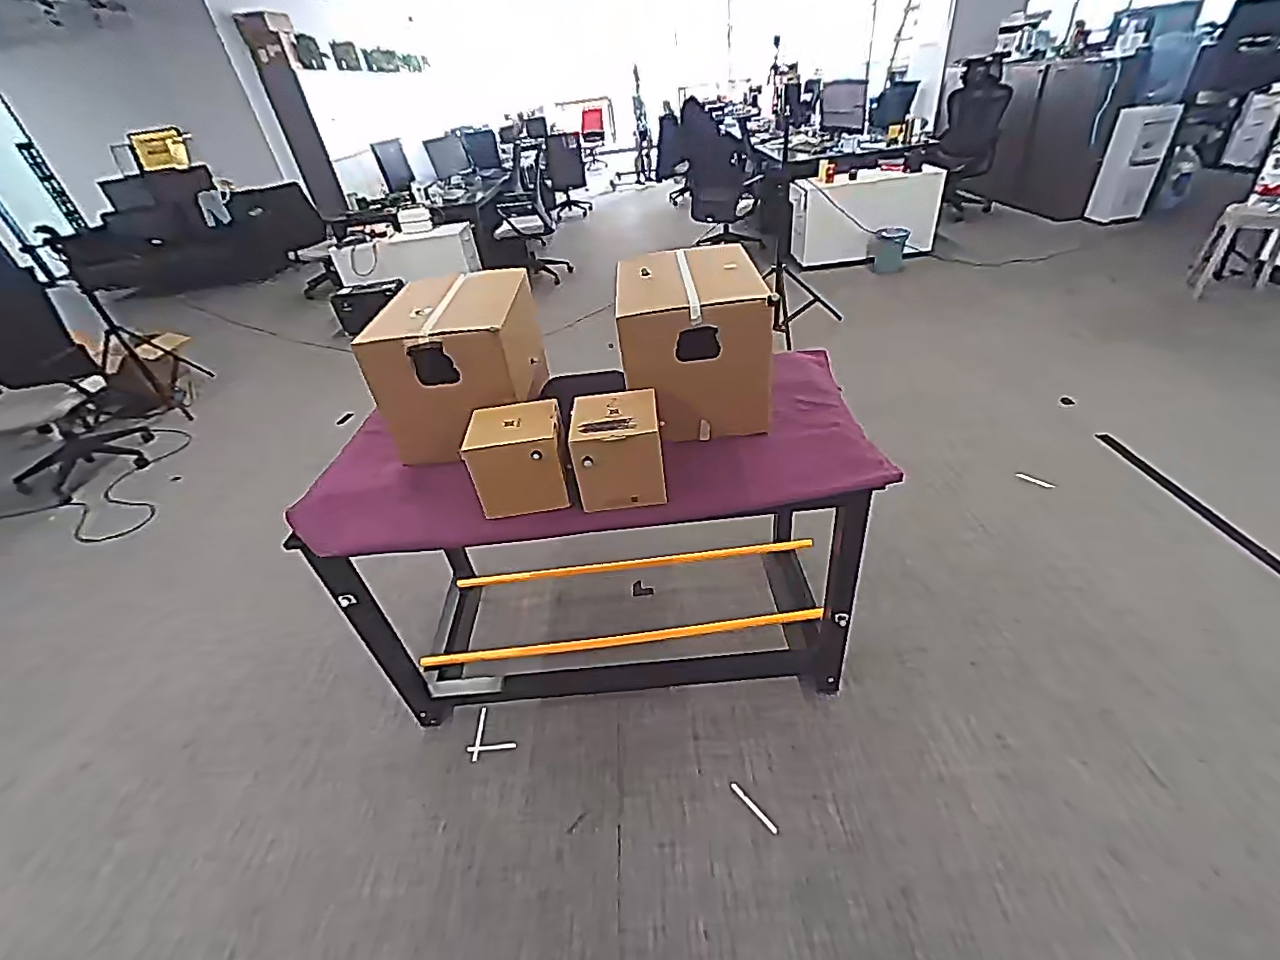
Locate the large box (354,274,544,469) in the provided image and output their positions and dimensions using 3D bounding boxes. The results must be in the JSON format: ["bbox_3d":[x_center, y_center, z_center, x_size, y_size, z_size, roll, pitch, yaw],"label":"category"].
[{"bbox_3d":[-0.431,-0.278,1.343,0.320,0.320,0.408,-7,39,2],"label":"large box"}]
